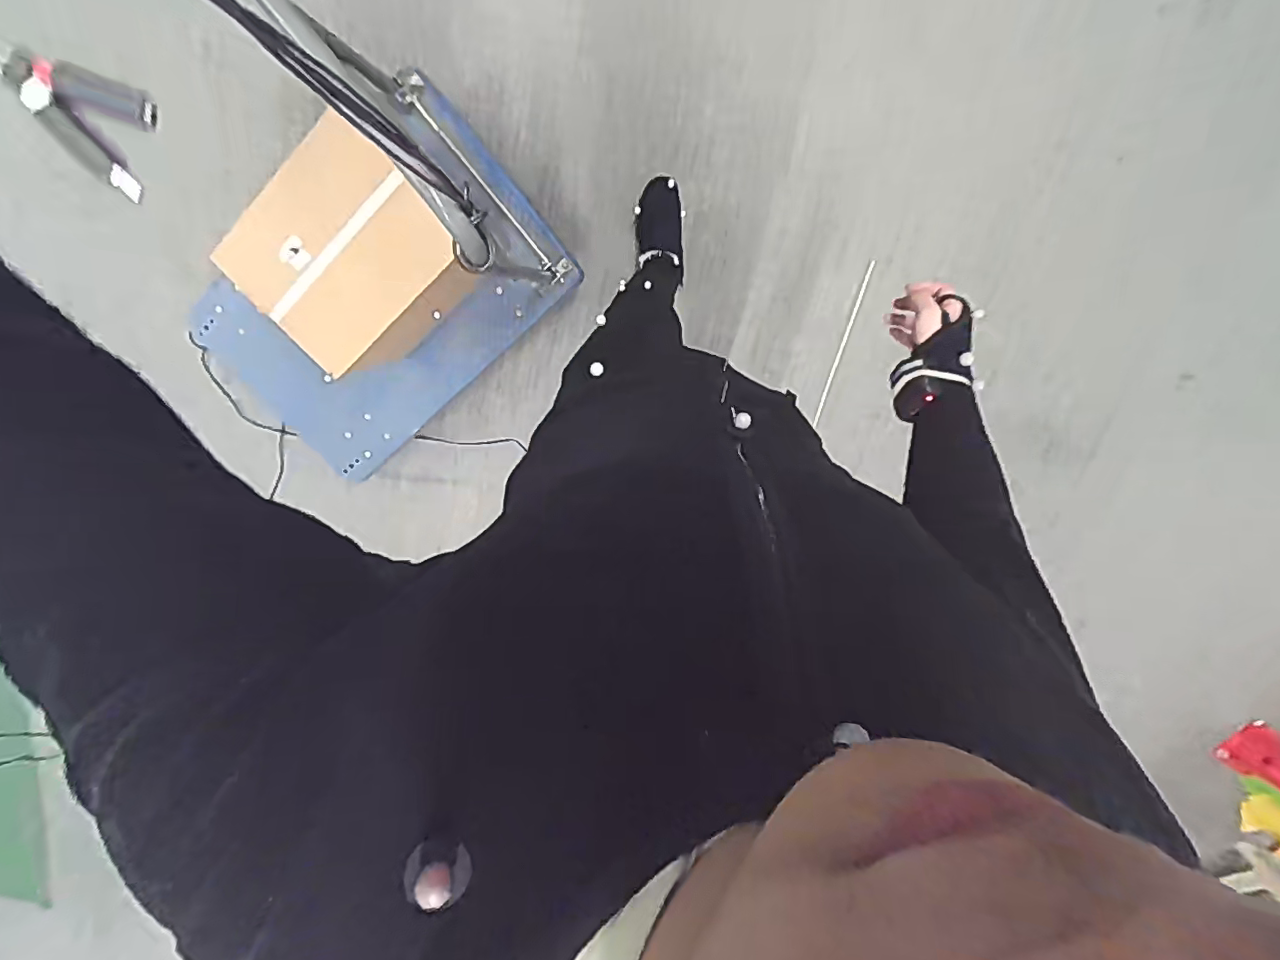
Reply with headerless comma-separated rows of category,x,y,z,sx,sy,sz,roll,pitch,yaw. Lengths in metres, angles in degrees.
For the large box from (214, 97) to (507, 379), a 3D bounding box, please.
large box,-0.559,-0.486,1.151,0.408,0.320,0.320,-38,104,15
